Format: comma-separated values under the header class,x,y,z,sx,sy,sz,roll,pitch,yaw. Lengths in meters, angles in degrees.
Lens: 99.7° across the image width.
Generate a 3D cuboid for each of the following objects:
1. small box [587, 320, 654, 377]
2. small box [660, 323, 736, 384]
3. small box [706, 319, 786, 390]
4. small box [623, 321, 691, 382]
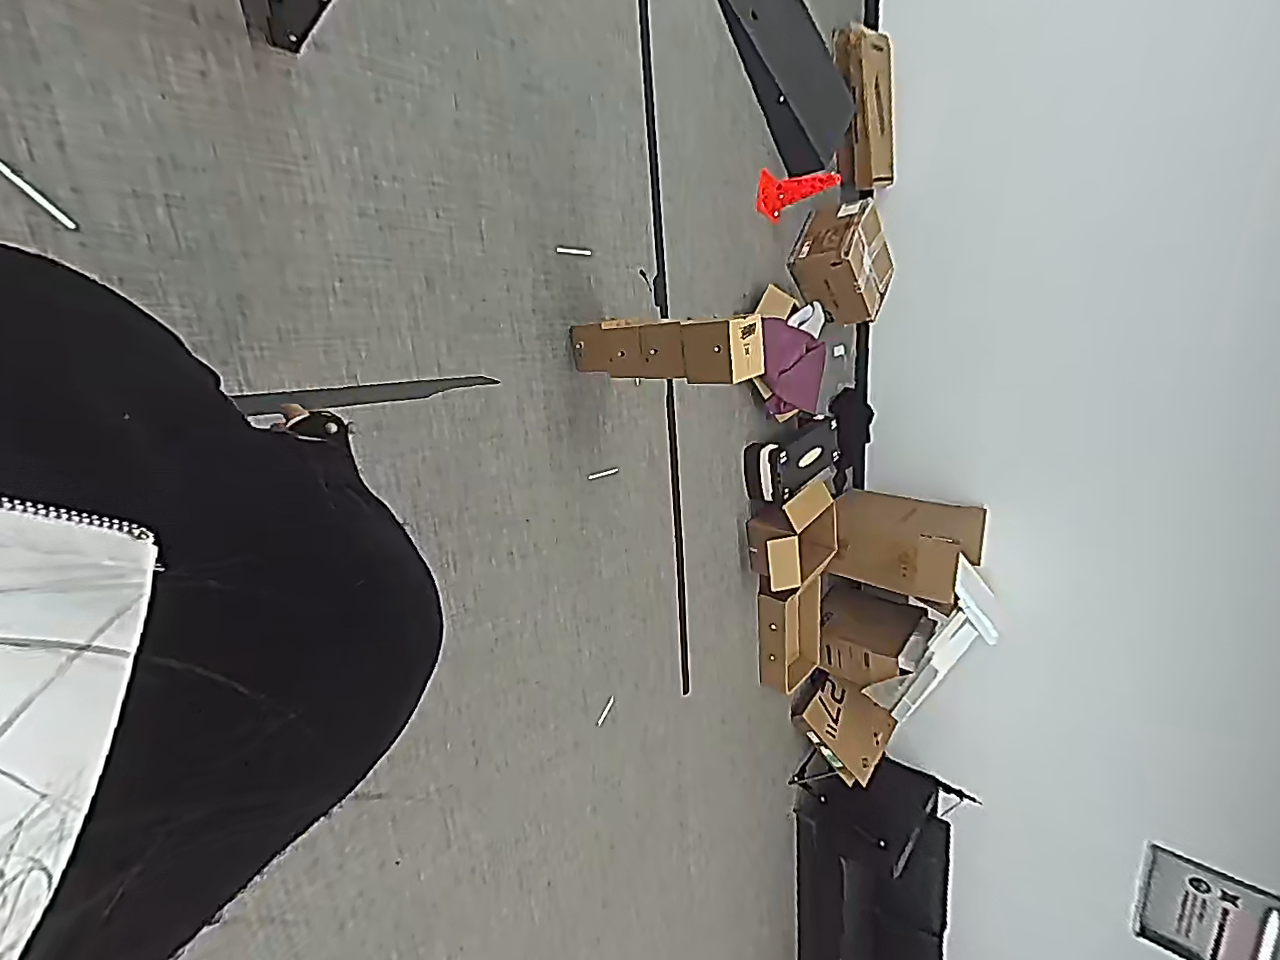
class,x,y,z,sx,sy,sz,roll,pitch,yaw
small box,-0.059,-0.459,1.880,0.179,0.176,0.168,-26,115,-40
small box,0.184,-0.390,1.666,0.179,0.176,0.168,-22,112,-42
small box,0.304,-0.360,1.558,0.168,0.176,0.179,-26,116,-41
small box,0.060,-0.419,1.773,0.179,0.176,0.168,-27,116,-40
